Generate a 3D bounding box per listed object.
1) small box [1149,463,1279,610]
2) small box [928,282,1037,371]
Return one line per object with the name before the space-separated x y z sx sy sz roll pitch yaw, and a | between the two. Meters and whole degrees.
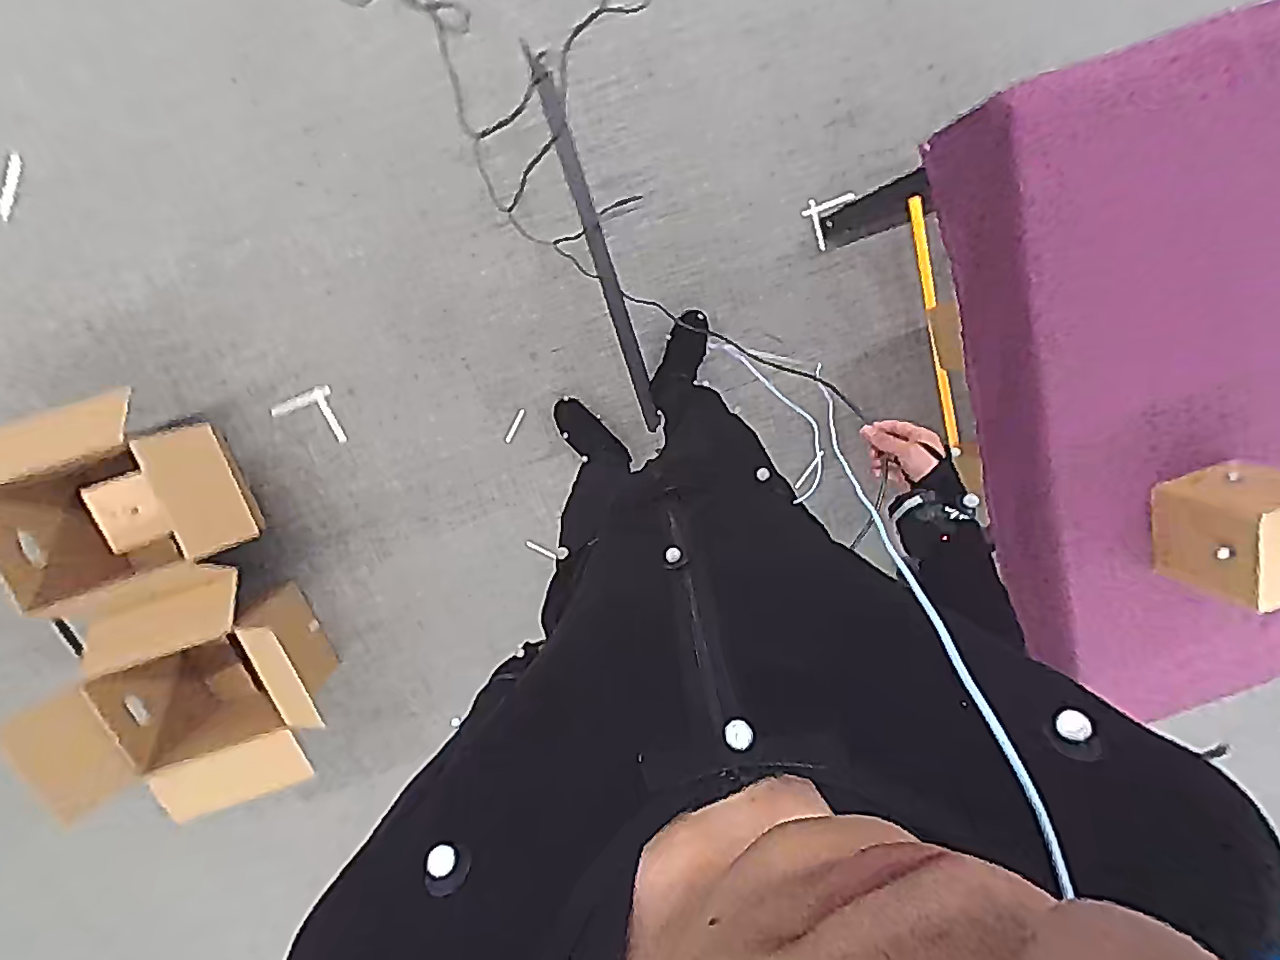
small box | 1.027 0.088 0.925 0.168 0.176 0.179 -17 105 -1
small box | 0.893 -0.401 1.422 0.168 0.176 0.179 -22 107 0
